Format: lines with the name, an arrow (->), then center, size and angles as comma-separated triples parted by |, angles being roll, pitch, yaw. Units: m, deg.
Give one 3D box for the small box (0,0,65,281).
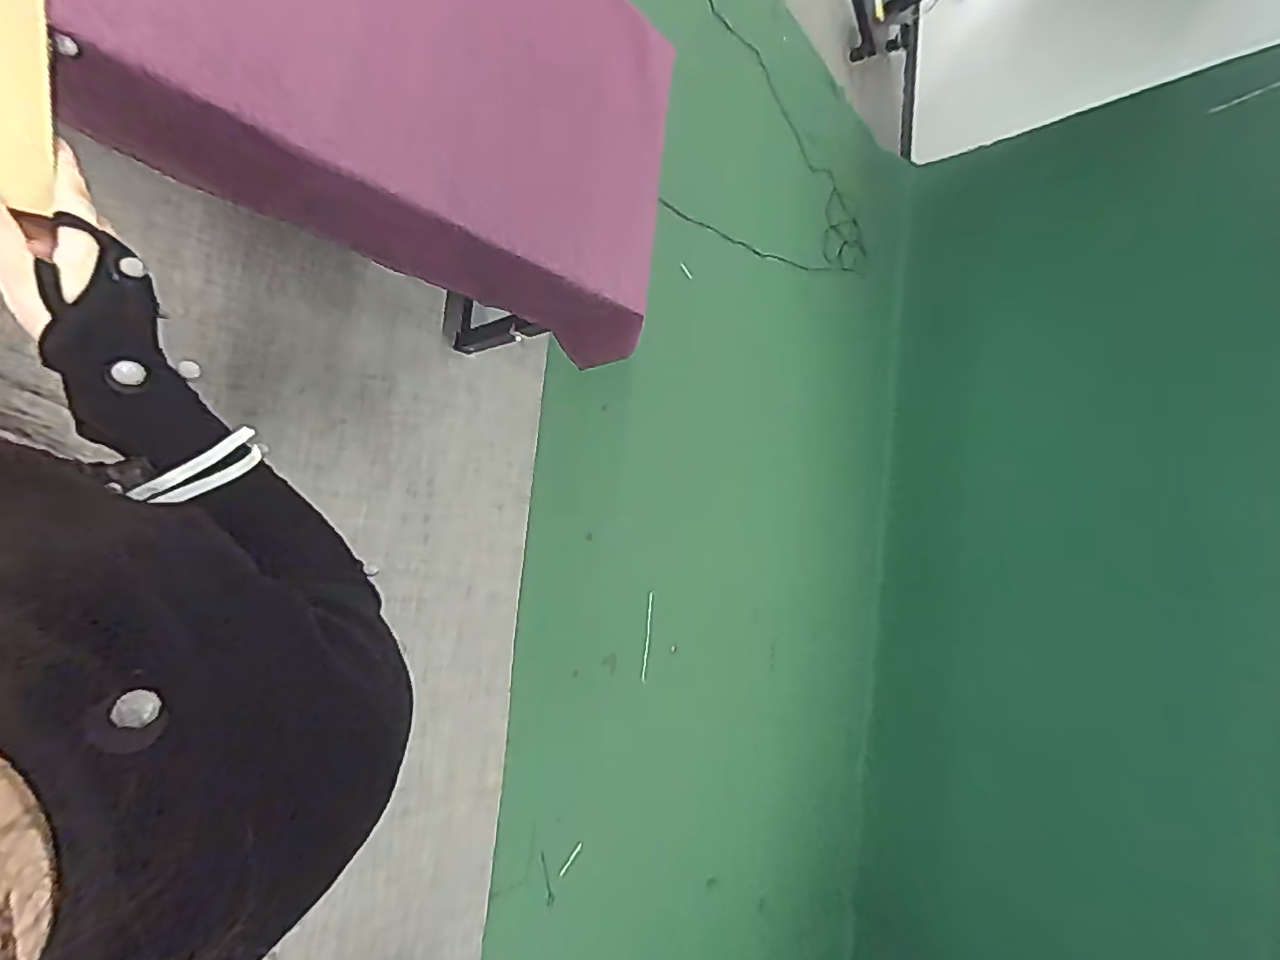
small box -> -0.491, -0.247, 0.344 | 0.168, 0.176, 0.179 | -4, 90, -47
